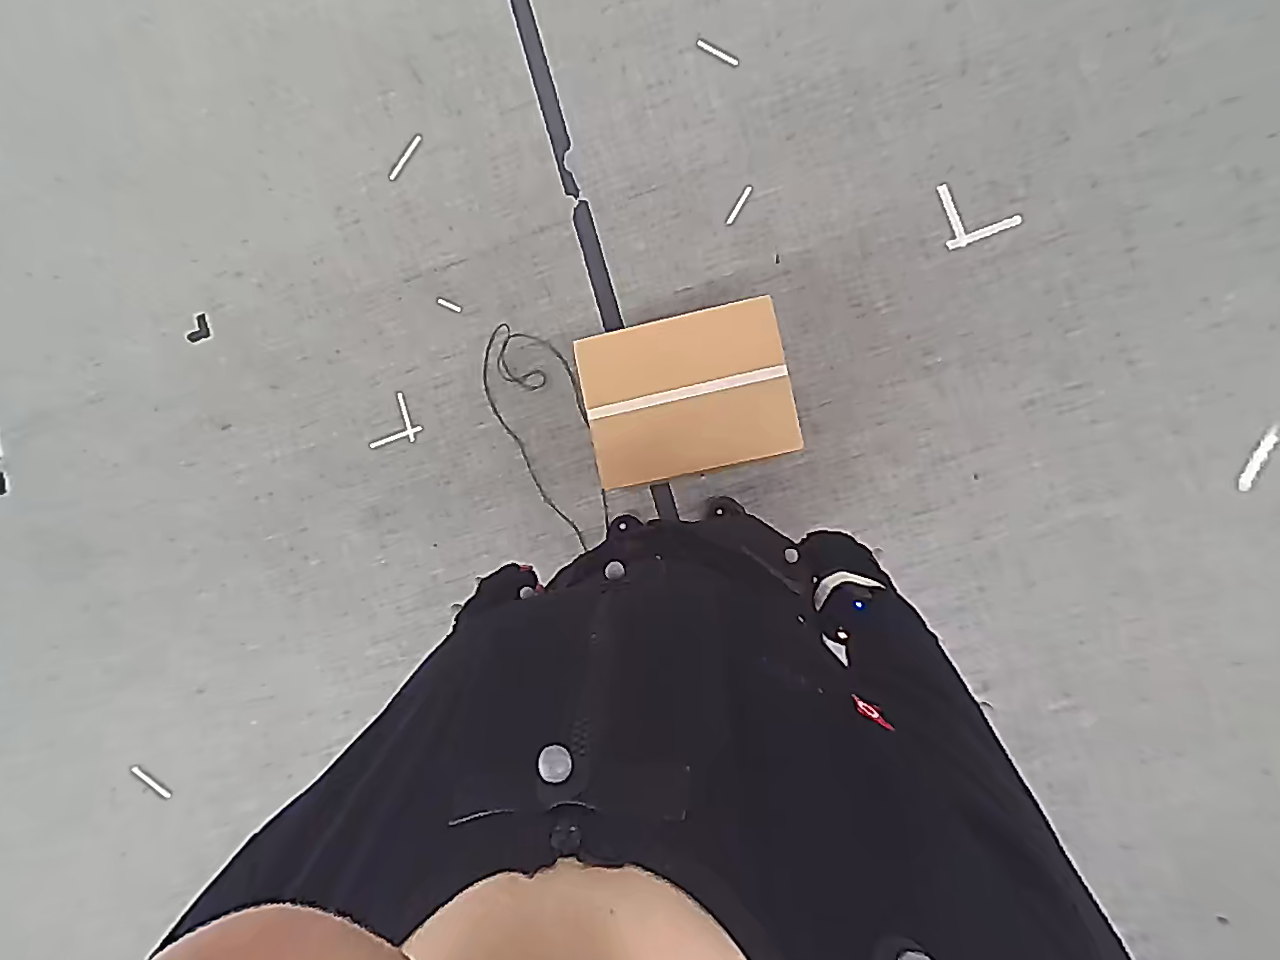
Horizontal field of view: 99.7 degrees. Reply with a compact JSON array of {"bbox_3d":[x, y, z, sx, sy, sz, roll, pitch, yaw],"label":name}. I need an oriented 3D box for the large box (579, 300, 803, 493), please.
[{"bbox_3d":[0.111,-0.160,1.225,0.408,0.320,0.320,-11,88,5],"label":"large box"}]
